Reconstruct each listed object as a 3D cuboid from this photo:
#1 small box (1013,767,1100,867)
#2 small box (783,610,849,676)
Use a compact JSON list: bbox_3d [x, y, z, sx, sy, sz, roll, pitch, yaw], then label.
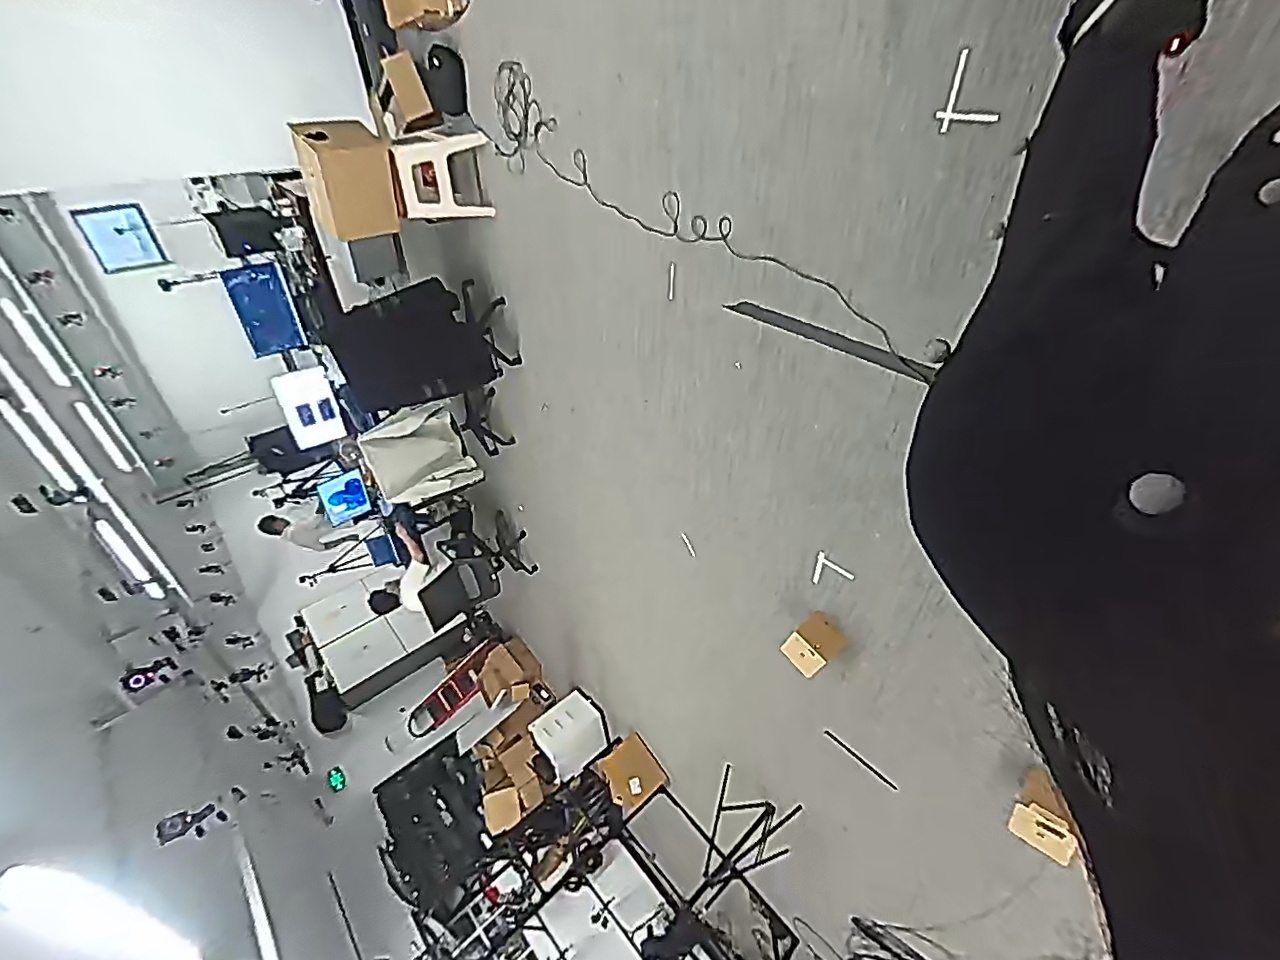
[{"bbox_3d":[1.328,1.064,1.722,0.168,0.176,0.179,24,133,44],"label":"small box"},{"bbox_3d":[0.737,0.679,2.257,0.168,0.176,0.179,45,145,24],"label":"small box"}]
